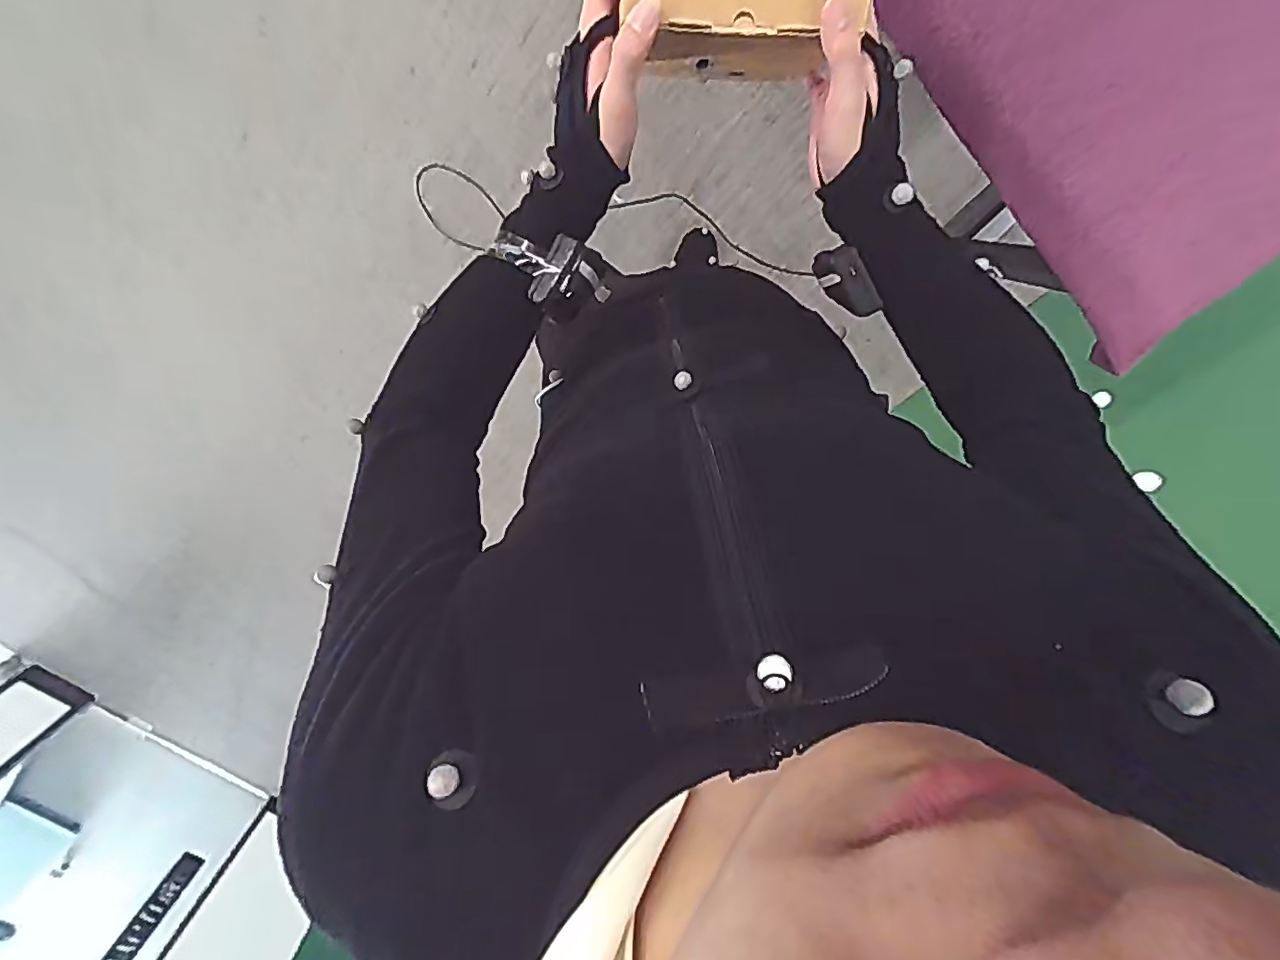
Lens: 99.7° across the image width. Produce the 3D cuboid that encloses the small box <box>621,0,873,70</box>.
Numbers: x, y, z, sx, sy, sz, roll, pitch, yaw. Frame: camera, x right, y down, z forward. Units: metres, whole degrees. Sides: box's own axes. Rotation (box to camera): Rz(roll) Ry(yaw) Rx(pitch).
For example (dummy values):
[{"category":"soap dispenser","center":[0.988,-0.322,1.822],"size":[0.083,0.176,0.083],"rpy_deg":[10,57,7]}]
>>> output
[{"category":"small box","center":[0.072,-0.419,0.385],"size":[0.168,0.176,0.179],"rpy_deg":[1,120,-3]}]
